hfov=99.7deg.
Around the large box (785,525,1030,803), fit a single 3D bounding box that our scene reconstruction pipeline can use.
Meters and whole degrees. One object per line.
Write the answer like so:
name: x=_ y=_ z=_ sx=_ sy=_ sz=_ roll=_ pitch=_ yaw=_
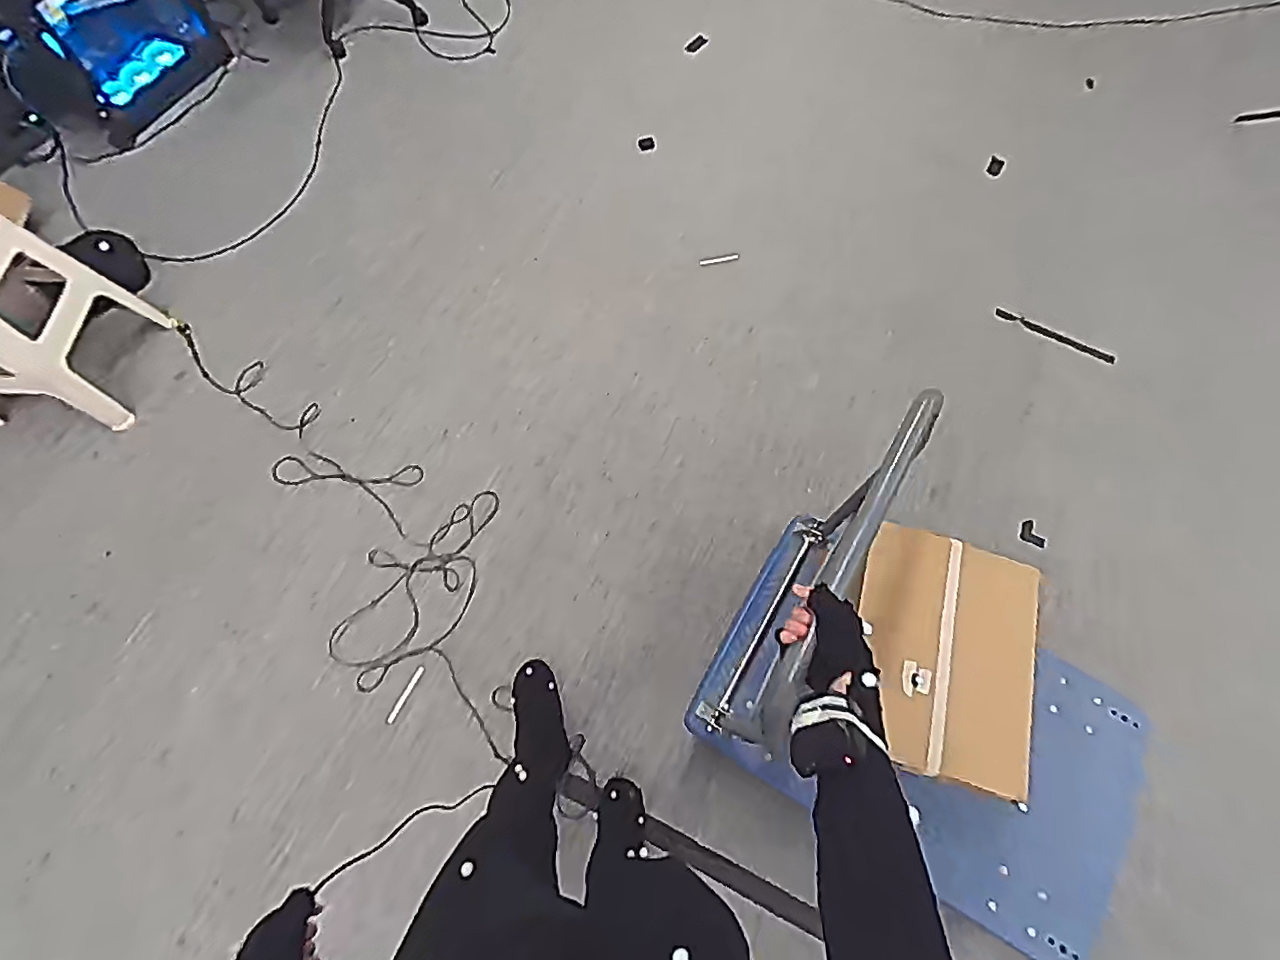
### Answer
large box: x=0.517 y=0.351 z=1.084 sx=0.320 sy=0.320 sz=0.408 roll=17 pitch=70 yaw=5
